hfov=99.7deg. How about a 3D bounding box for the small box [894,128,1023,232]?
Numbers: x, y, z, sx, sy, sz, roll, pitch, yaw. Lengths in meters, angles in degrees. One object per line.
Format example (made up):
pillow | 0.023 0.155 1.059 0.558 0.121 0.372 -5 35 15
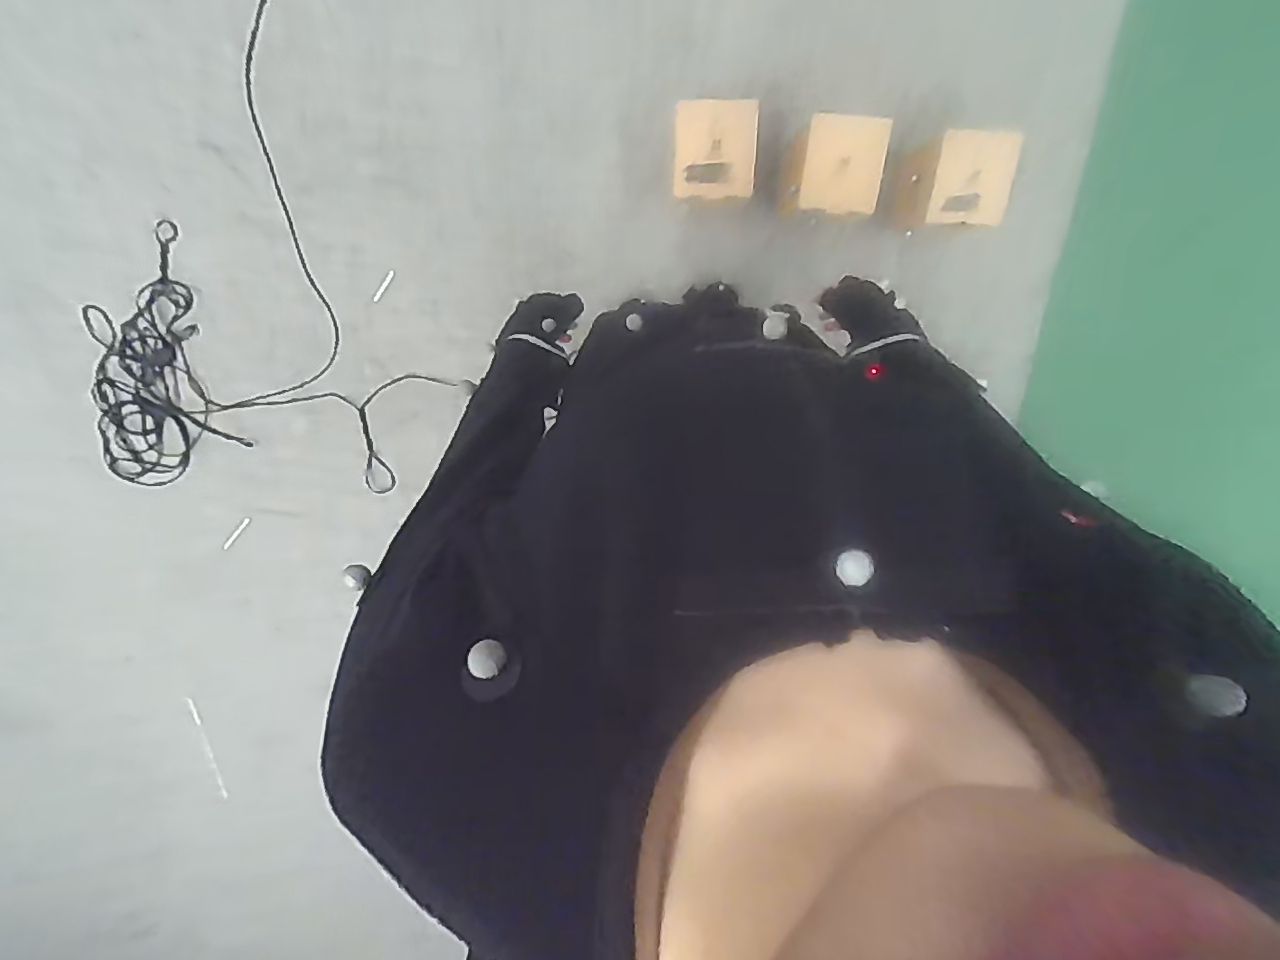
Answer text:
small box | 0.685 -0.648 1.189 0.168 0.176 0.179 3 110 -1

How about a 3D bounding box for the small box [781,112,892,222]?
small box | 0.417 -0.674 1.181 0.168 0.176 0.179 3 111 -1
